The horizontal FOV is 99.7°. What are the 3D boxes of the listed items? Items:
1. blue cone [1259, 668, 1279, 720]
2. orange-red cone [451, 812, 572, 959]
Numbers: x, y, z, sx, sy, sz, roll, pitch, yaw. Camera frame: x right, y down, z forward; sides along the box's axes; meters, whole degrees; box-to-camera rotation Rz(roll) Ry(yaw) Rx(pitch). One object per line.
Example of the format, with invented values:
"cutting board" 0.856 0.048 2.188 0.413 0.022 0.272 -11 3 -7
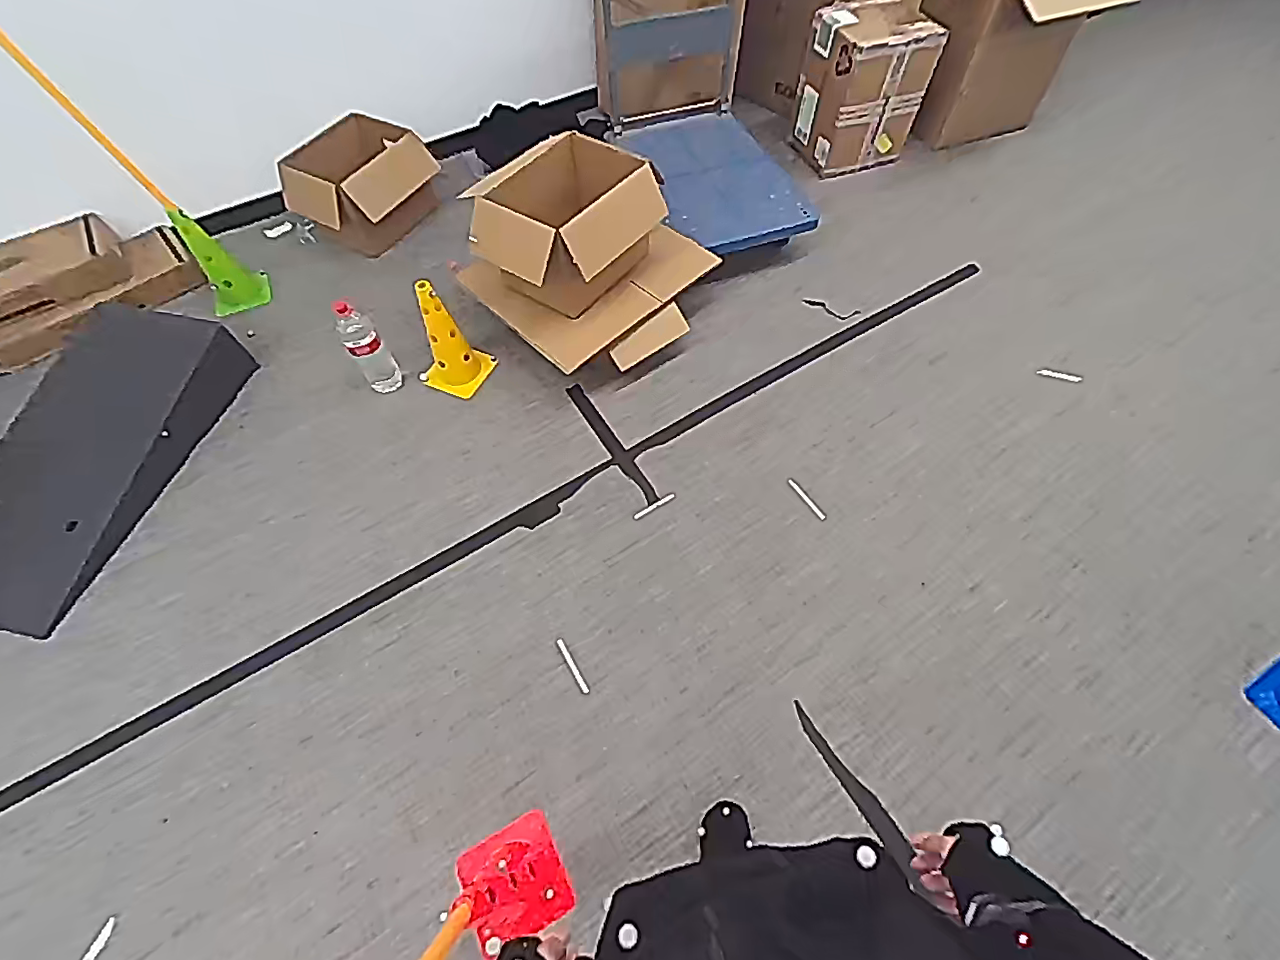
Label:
"blue cone" 1.554 0.446 1.104 0.193 0.380 0.192 -26 62 -13
"orange-red cone" -0.264 0.736 0.961 0.198 0.360 0.199 -25 61 -13
